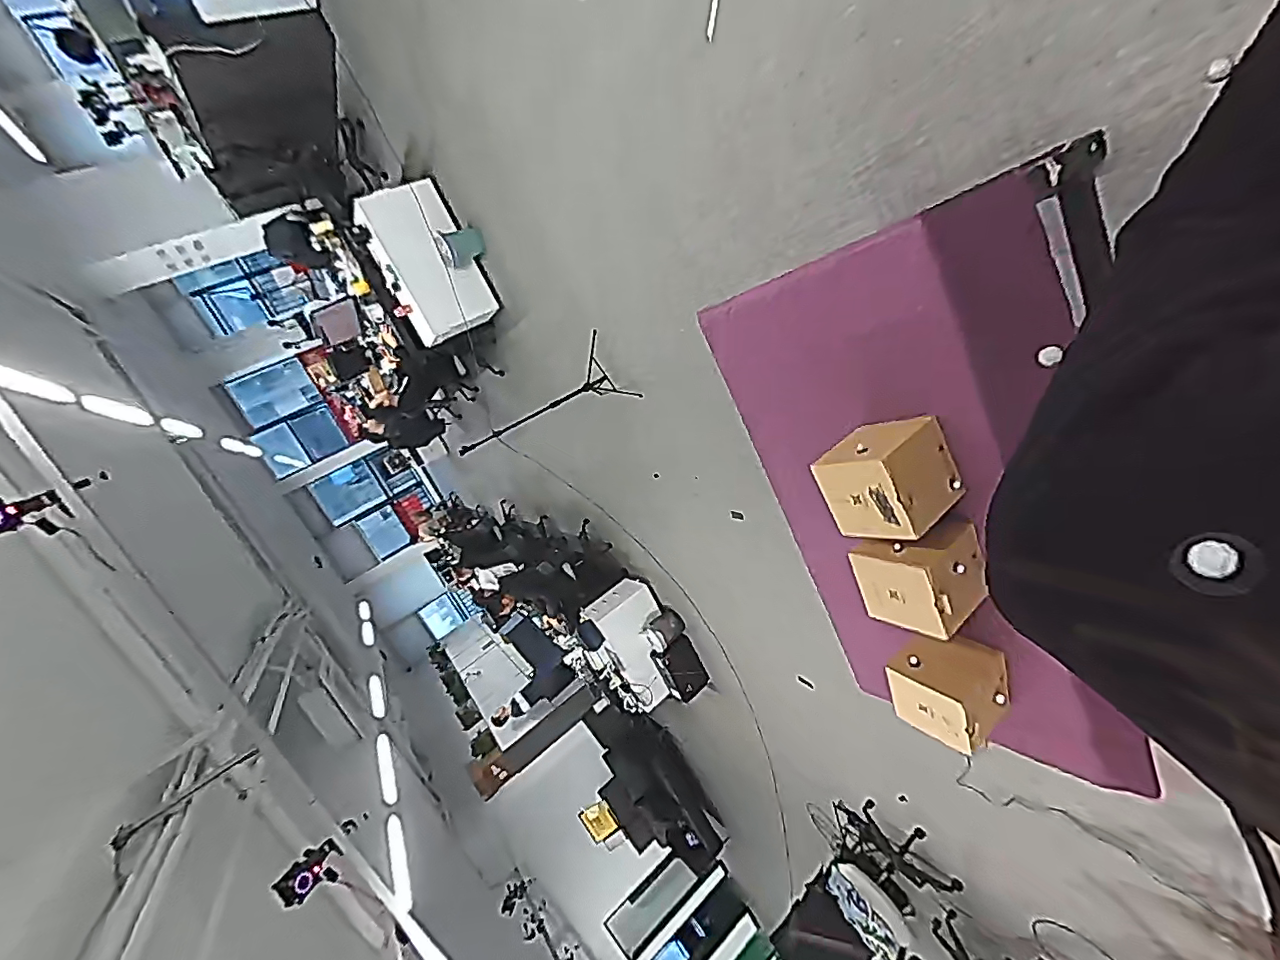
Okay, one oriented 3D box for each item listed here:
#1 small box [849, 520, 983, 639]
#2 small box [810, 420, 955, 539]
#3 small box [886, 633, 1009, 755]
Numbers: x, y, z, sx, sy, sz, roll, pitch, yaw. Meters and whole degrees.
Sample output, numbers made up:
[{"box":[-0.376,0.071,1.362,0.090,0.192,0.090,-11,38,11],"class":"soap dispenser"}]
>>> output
[{"box":[0.568,0.187,1.102,0.179,0.176,0.168,8,127,59],"class":"small box"},{"box":[0.472,-0.003,1.041,0.168,0.176,0.179,61,157,-11],"class":"small box"},{"box":[0.689,0.459,1.210,0.179,0.176,0.168,16,134,55],"class":"small box"}]
